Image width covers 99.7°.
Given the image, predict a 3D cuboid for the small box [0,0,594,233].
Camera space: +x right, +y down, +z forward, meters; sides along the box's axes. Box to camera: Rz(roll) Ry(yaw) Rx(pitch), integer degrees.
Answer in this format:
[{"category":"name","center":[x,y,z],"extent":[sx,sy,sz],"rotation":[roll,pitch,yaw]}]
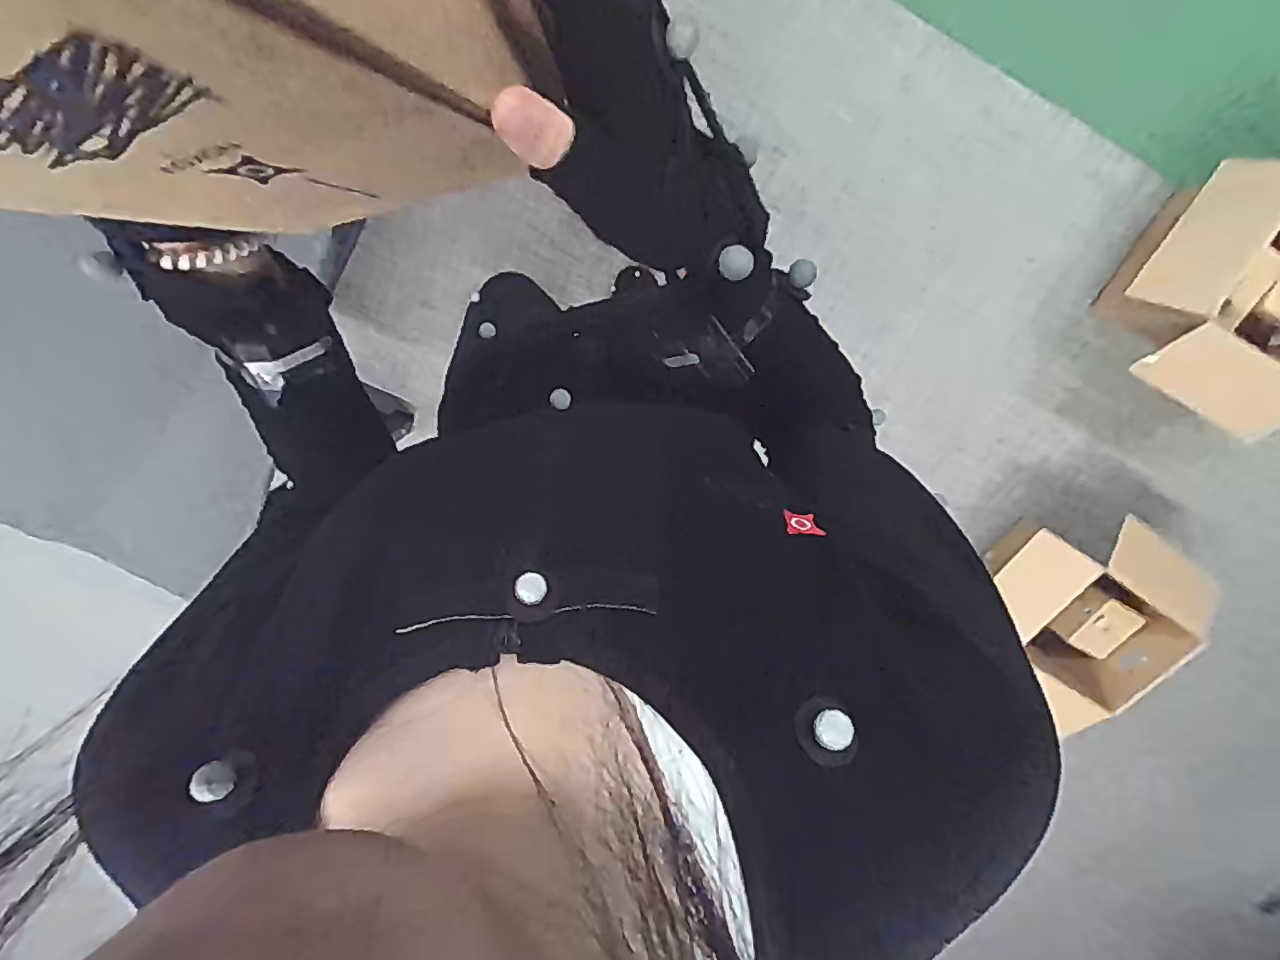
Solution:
[{"category":"small box","center":[-0.132,-0.187,0.152],"extent":[0.168,0.179,0.176],"rotation":[-2,106,20]}]
